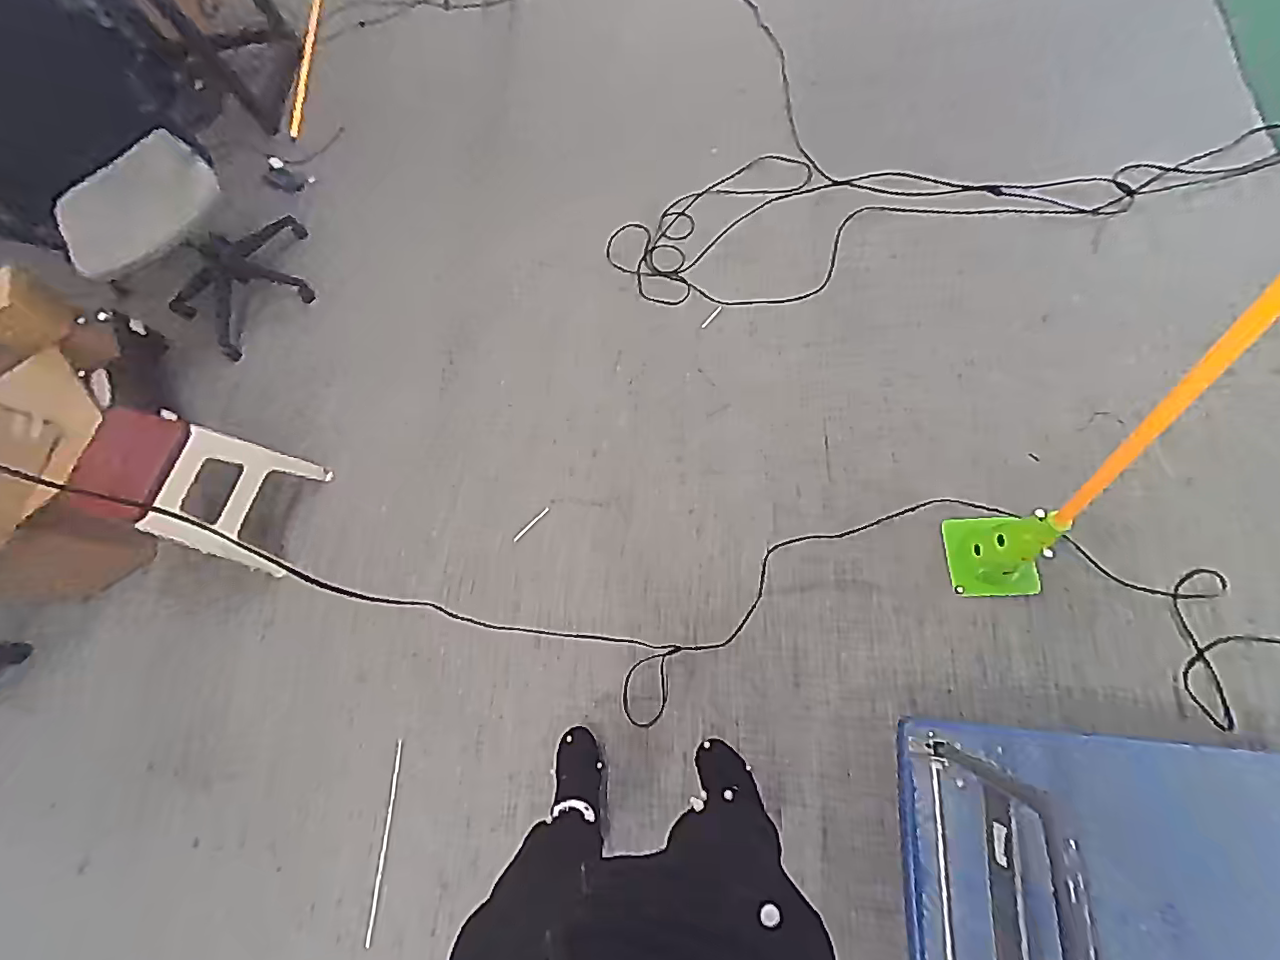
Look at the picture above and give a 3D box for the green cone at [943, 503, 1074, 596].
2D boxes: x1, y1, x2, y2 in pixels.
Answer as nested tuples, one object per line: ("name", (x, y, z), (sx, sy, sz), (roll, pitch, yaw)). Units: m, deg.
("green cone", (0.854, 0.129, 1.203), (0.200, 0.368, 0.202), (-4, 69, 10))
